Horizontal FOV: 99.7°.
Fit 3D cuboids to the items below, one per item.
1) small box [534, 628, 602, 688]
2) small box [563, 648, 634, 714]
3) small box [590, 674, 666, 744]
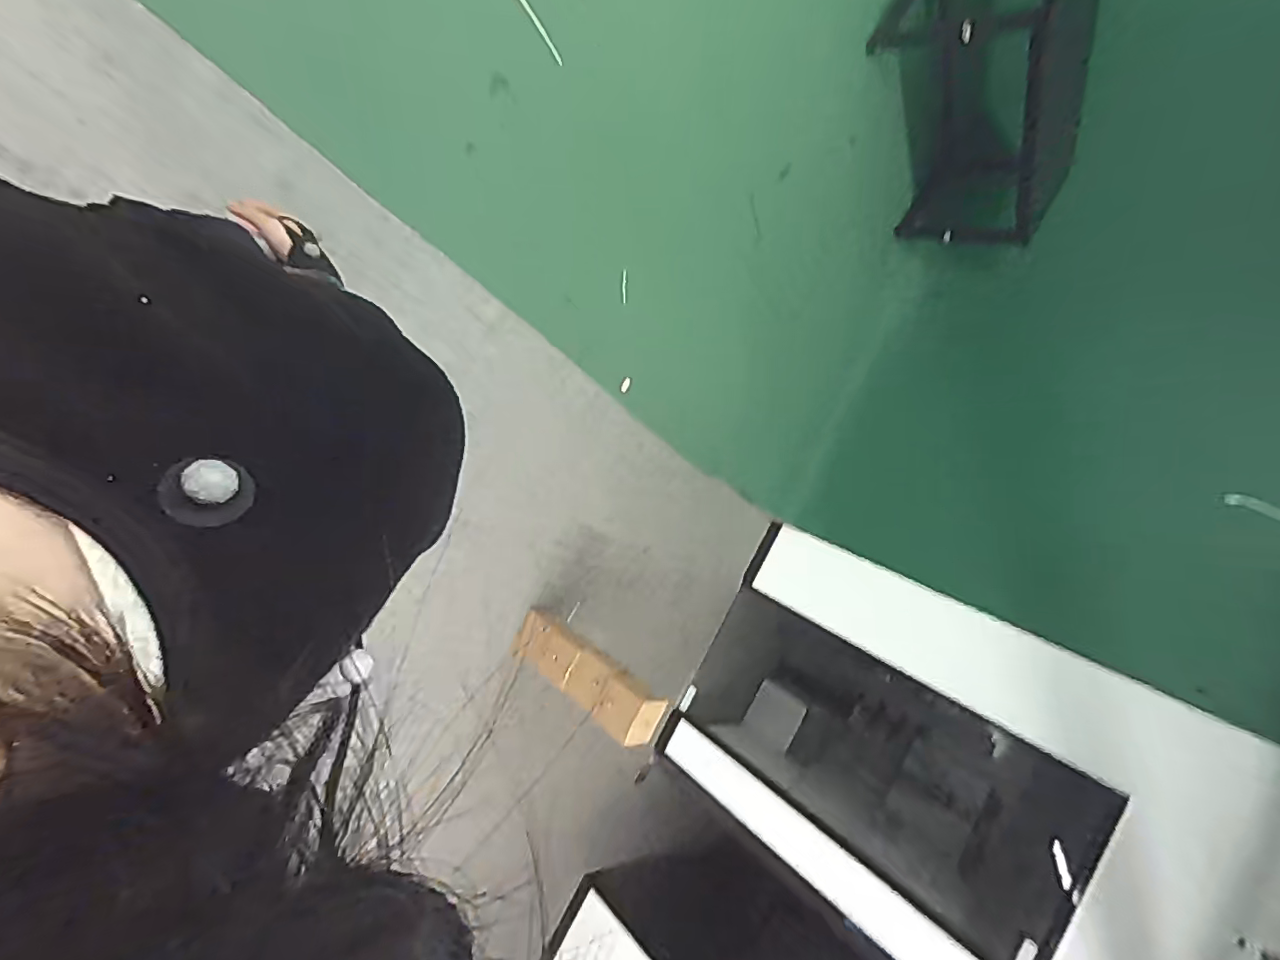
[{"bbox_3d":[-0.283,0.702,2.129,0.179,0.176,0.168,30,87,-52],"label":"small box"},{"bbox_3d":[-0.158,0.754,2.033,0.168,0.176,0.179,31,86,-52],"label":"small box"},{"bbox_3d":[-0.042,0.813,1.932,0.179,0.176,0.168,29,87,-52],"label":"small box"}]
